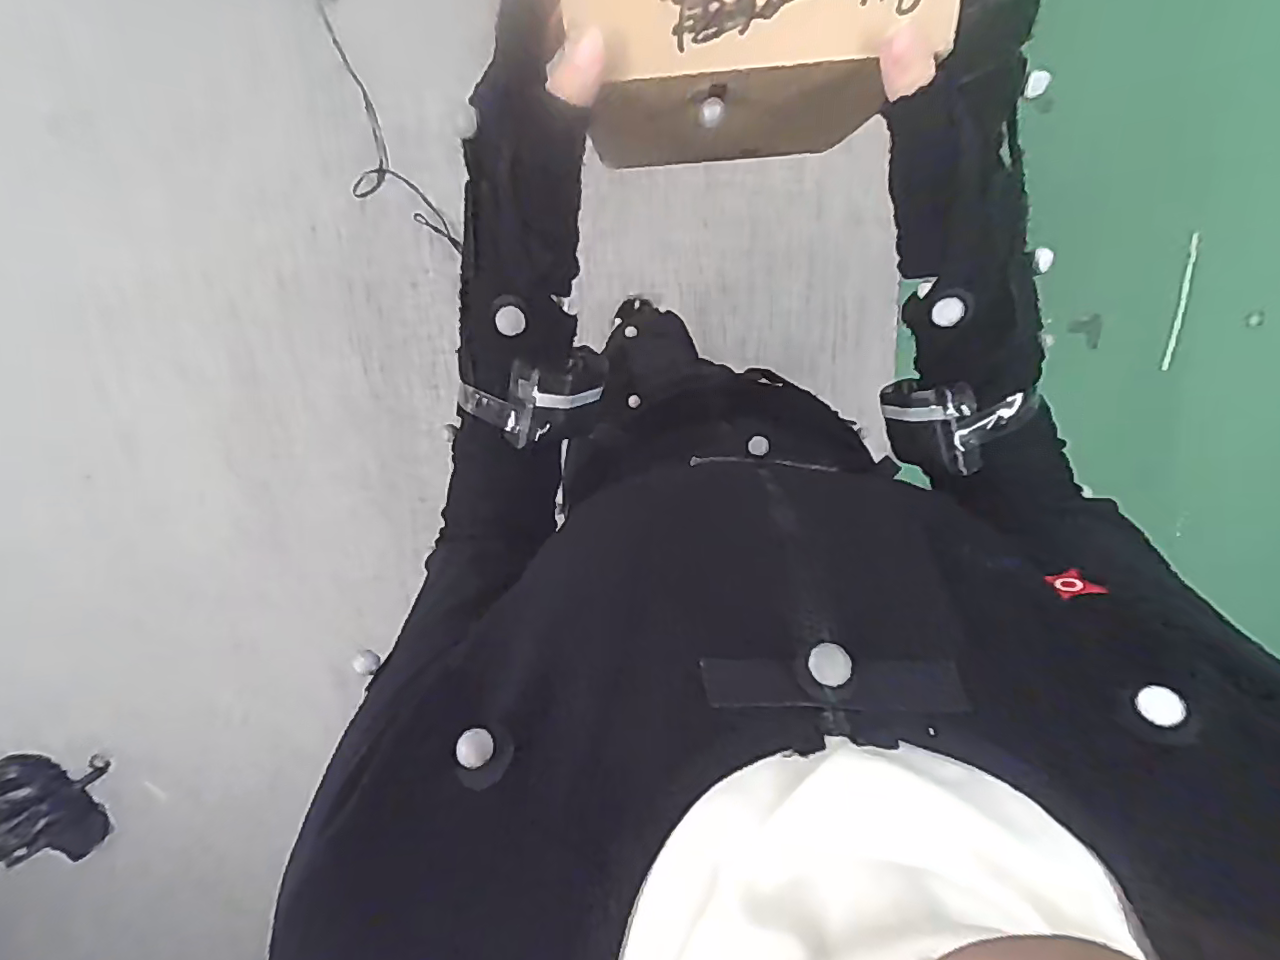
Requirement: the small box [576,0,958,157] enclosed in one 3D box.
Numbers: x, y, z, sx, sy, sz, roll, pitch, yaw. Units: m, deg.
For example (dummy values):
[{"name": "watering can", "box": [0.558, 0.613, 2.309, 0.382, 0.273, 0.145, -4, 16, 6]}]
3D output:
[{"name": "small box", "box": [0.046, -0.296, 0.285, 0.168, 0.176, 0.179, -6, 109, 2]}]
